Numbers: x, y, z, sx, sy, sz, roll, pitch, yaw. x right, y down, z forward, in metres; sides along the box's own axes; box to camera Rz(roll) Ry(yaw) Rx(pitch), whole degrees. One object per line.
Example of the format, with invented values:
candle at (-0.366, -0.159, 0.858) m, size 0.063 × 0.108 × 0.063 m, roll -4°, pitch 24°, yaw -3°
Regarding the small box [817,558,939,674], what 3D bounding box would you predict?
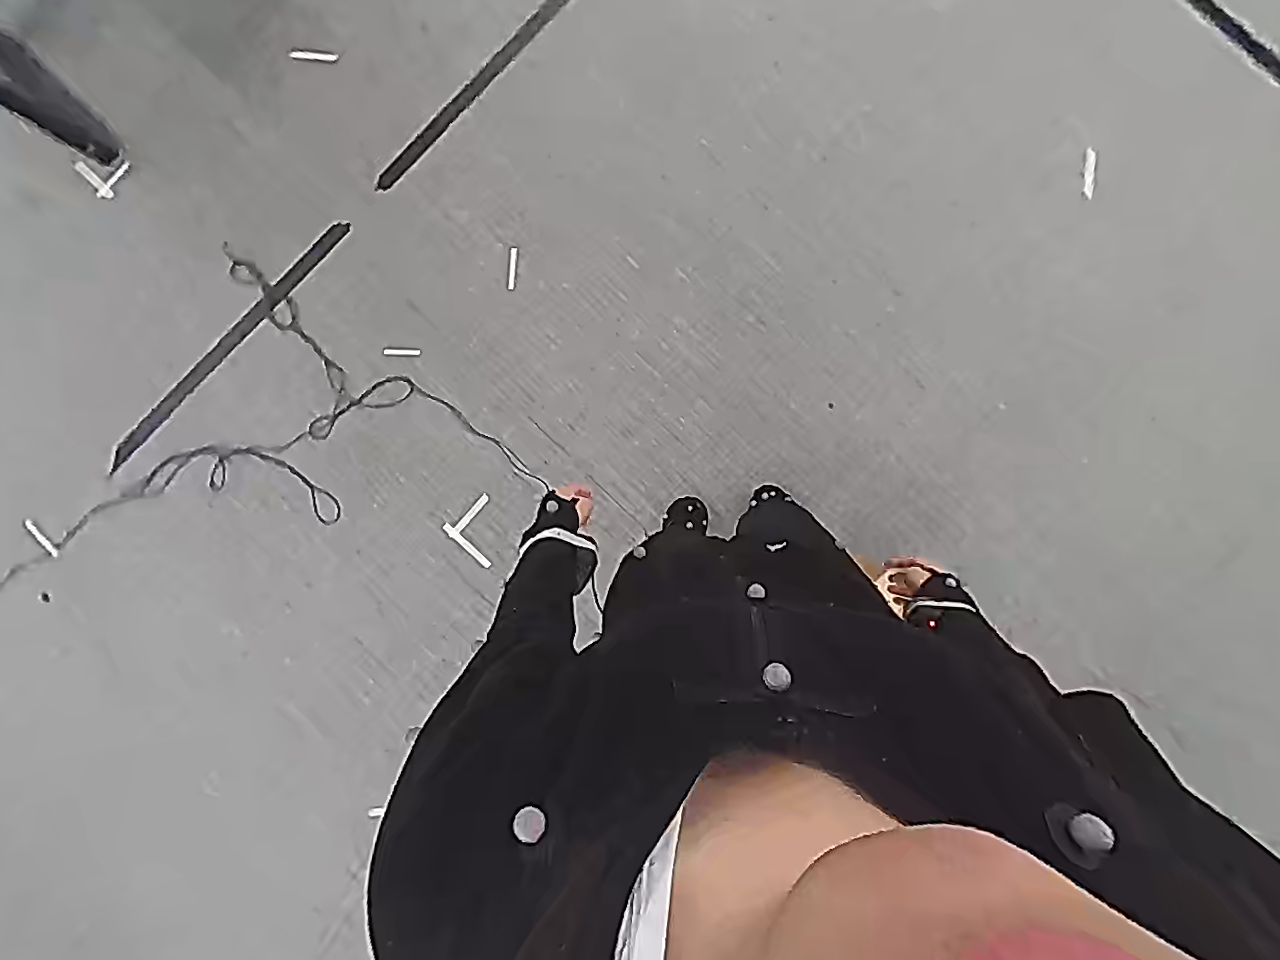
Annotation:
small box at (0.530, 0.302, 1.239) m, size 0.179 × 0.176 × 0.168 m, roll -45°, pitch 89°, yaw 2°
